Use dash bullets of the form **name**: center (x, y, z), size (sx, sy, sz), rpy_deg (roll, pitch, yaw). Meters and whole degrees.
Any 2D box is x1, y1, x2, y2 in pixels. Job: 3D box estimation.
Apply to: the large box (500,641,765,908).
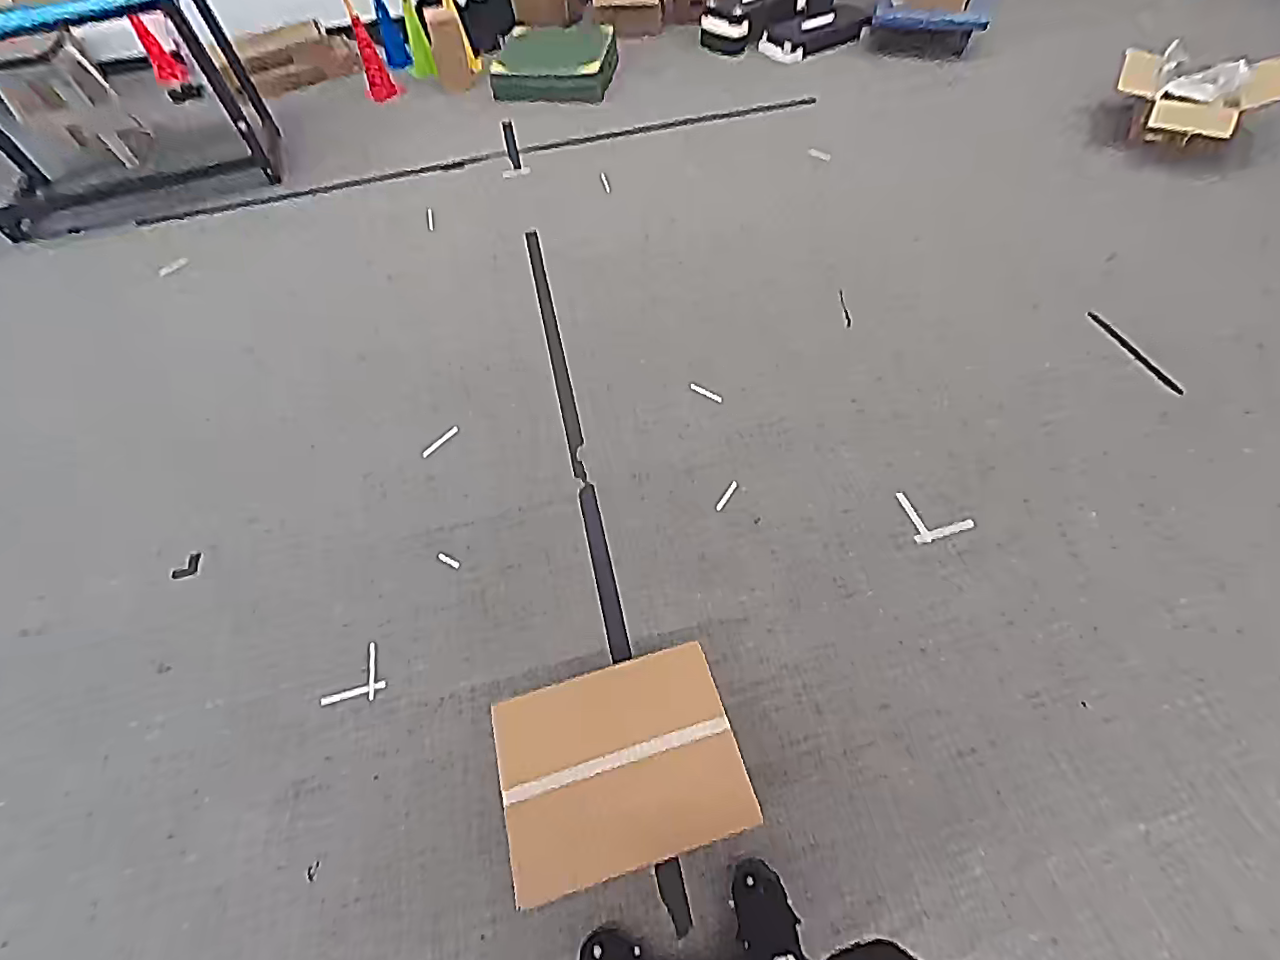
- **large box**: center (-0.019, 0.566, 1.057), size (0.408, 0.320, 0.320), rpy_deg (-16, 58, -6)
